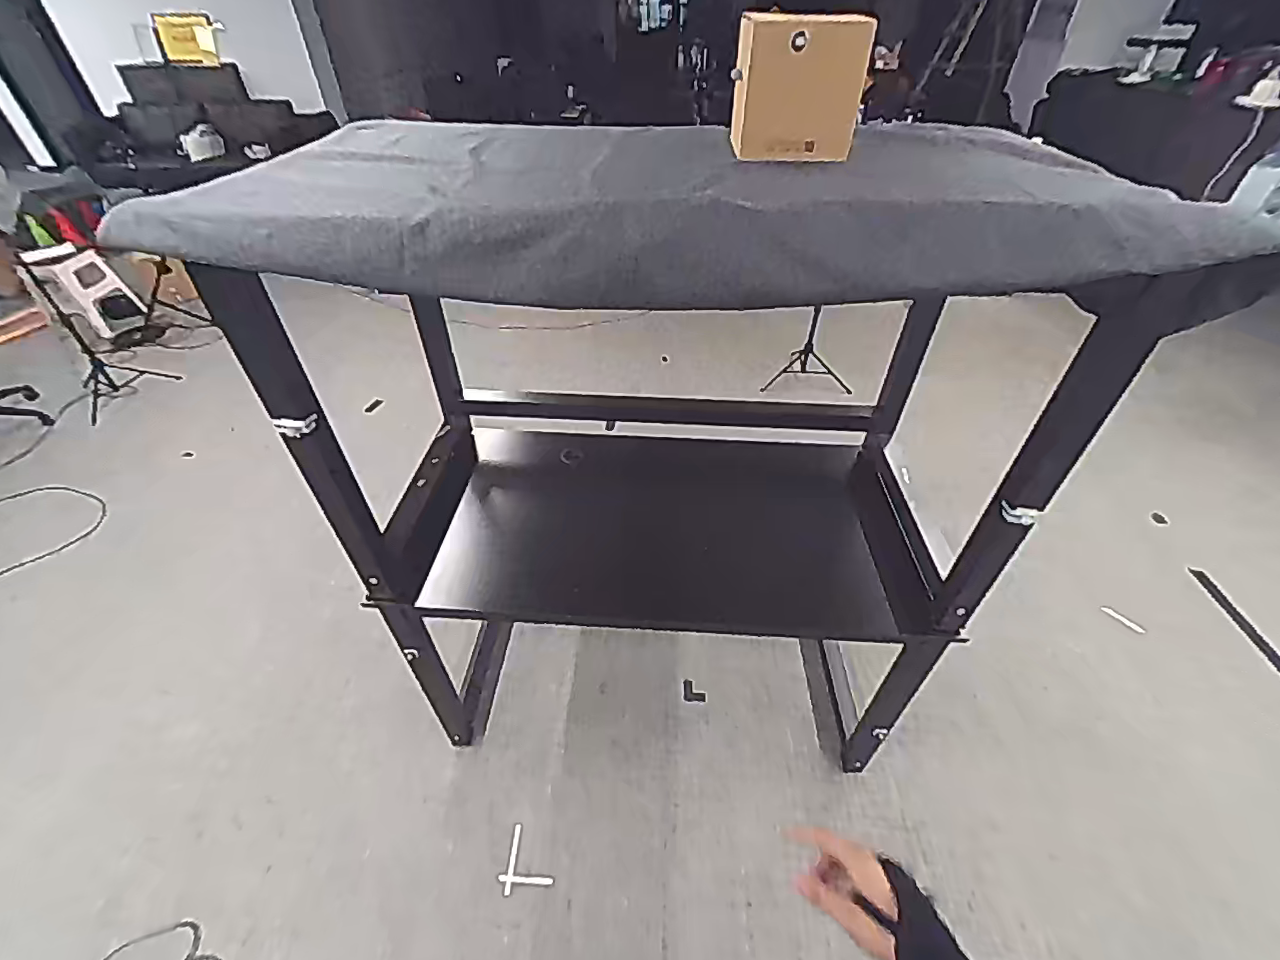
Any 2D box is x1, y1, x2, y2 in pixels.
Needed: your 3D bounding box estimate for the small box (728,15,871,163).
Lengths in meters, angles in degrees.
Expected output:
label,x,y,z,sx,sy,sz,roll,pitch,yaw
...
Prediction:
label,x,y,z,sx,sy,sz,roll,pitch,yaw
small box,0.231,-0.606,0.838,0.168,0.176,0.179,2,41,2
